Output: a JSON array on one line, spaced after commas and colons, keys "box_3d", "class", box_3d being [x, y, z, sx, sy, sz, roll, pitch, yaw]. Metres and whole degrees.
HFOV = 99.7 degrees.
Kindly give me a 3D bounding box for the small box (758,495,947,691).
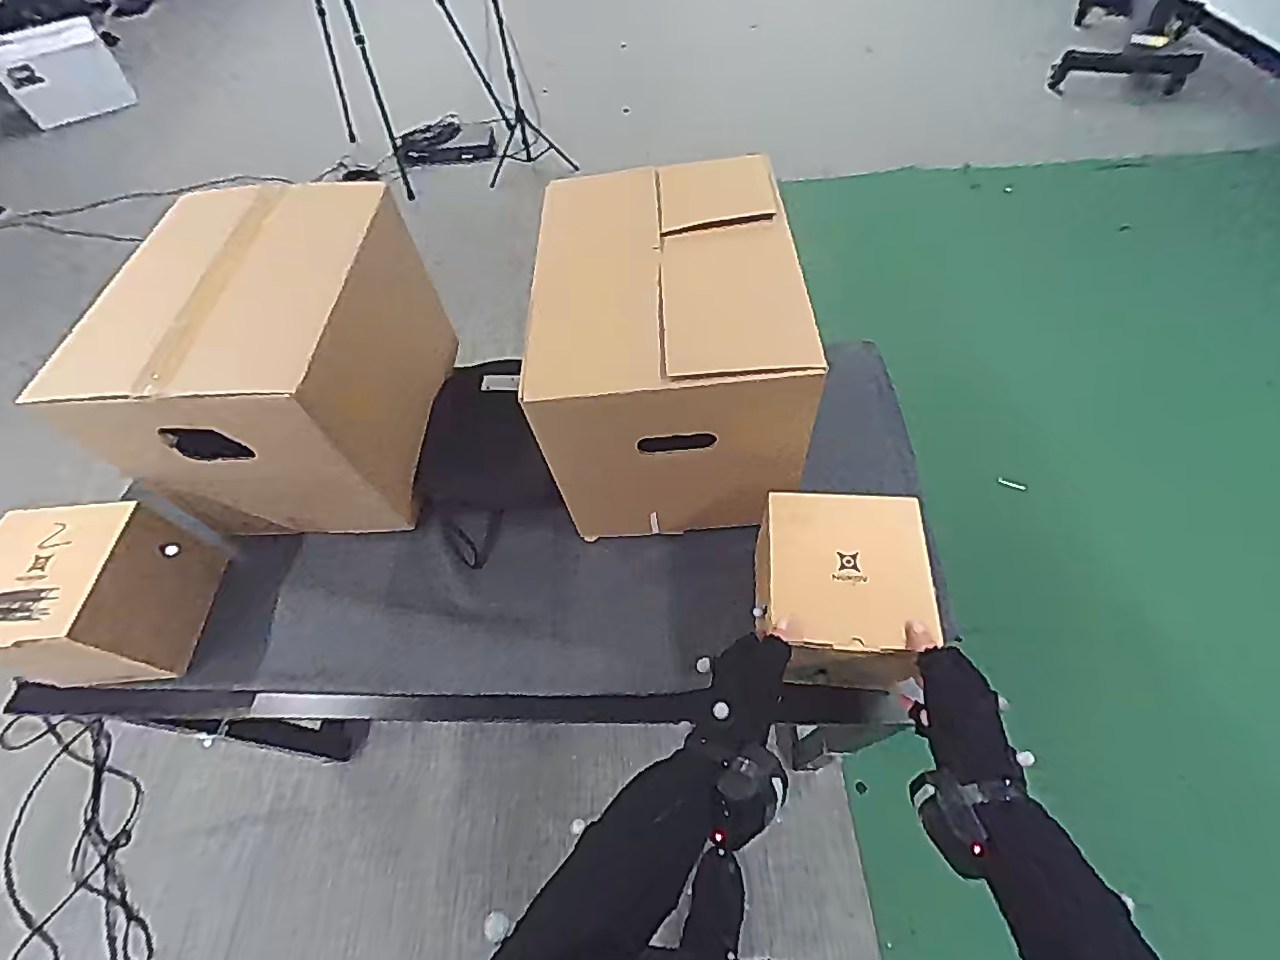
[{"box_3d": [0.231, 0.136, 0.639, 0.168, 0.176, 0.179, 3, 60, 8], "class": "small box"}]
